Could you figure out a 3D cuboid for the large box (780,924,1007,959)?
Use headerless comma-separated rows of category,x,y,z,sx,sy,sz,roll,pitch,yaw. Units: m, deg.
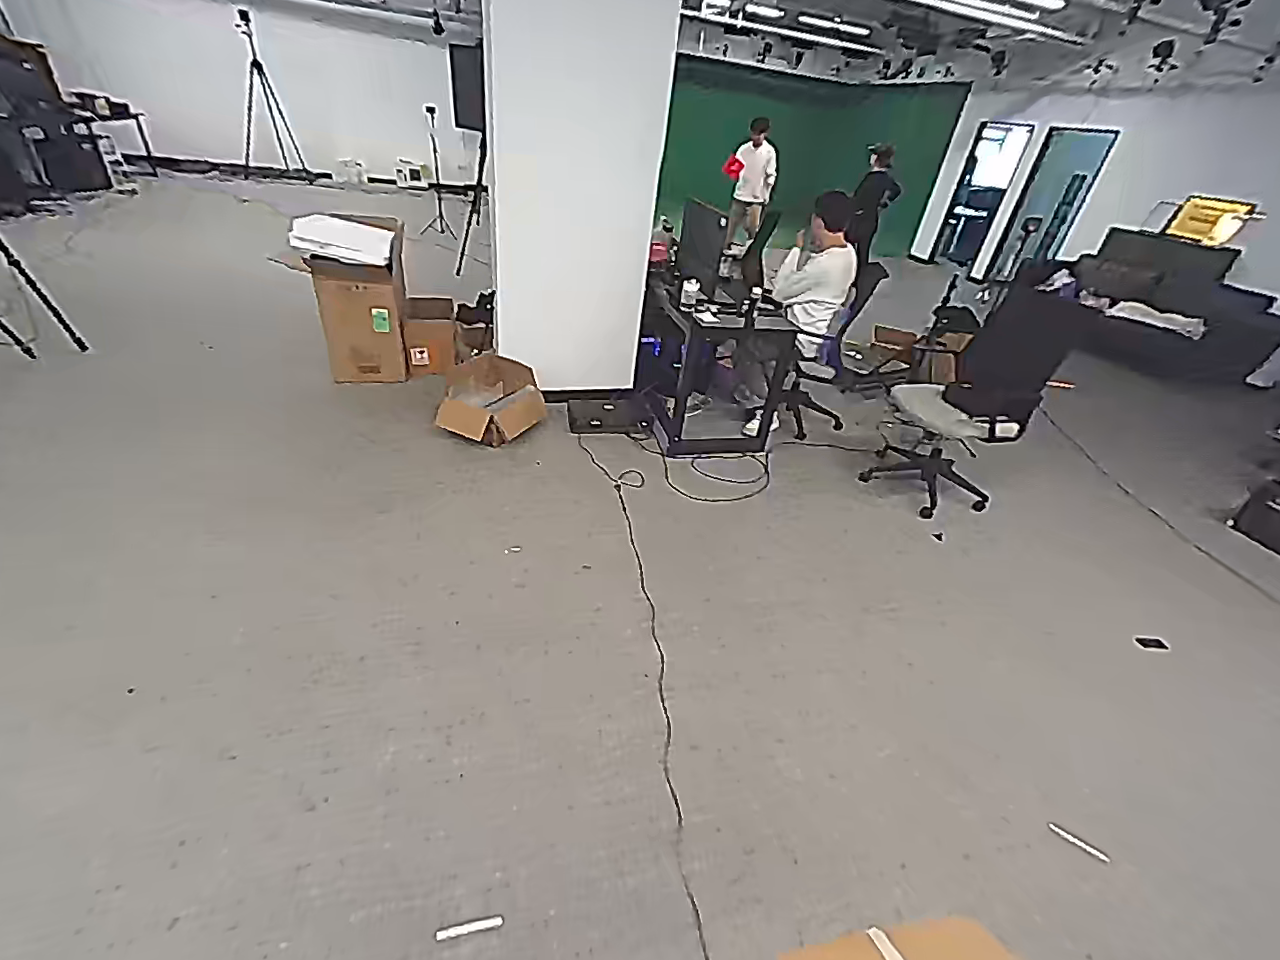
large box,0.382,0.809,0.590,0.320,0.320,0.408,-6,-5,-6
